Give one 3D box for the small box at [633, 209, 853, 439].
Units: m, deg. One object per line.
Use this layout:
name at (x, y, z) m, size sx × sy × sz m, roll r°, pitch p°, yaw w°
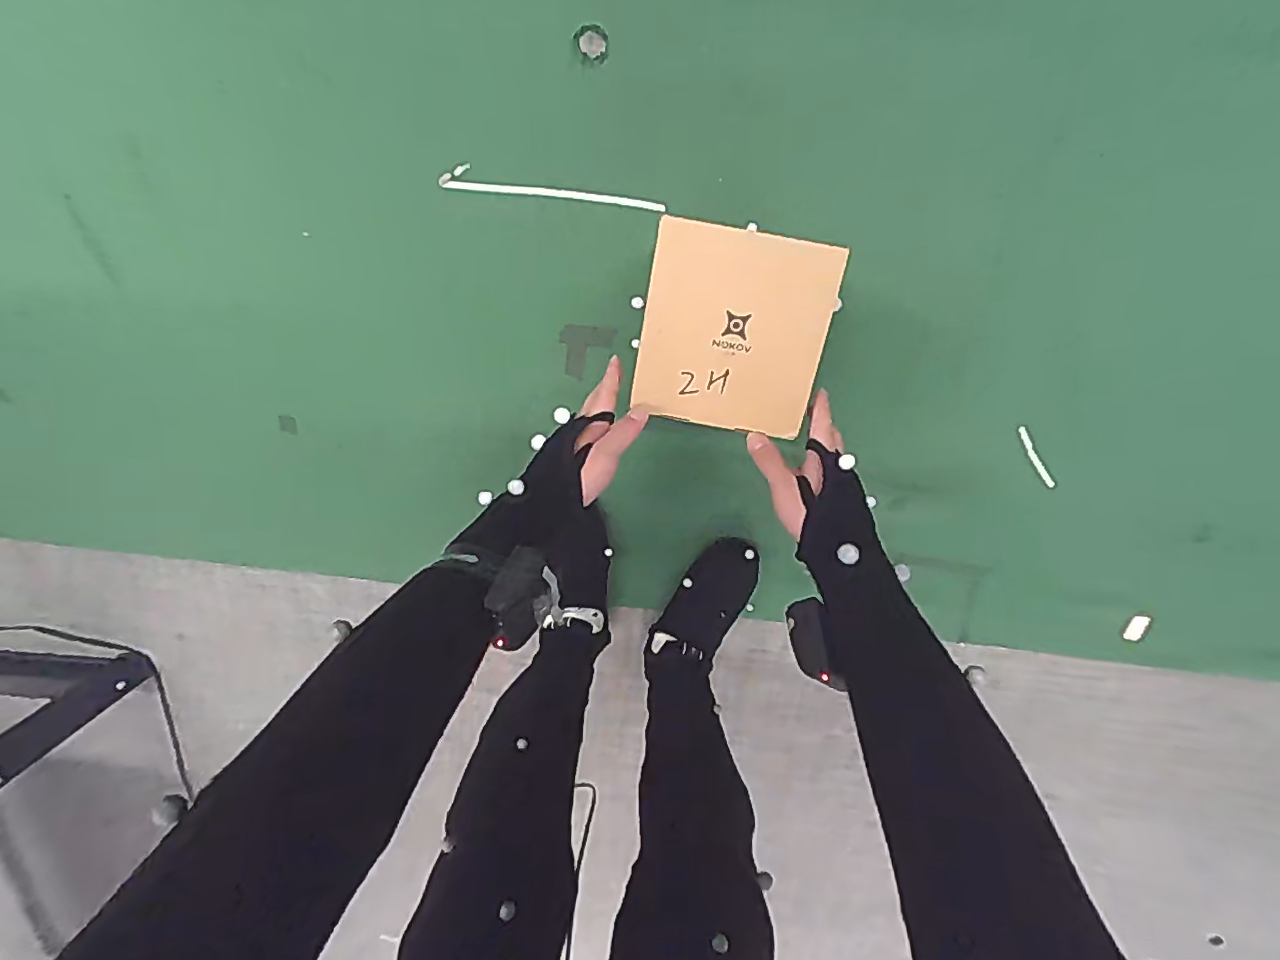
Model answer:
small box at (0.090, -0.160, 0.558) m, size 0.168 × 0.176 × 0.179 m, roll 11°, pitch 110°, yaw 0°
